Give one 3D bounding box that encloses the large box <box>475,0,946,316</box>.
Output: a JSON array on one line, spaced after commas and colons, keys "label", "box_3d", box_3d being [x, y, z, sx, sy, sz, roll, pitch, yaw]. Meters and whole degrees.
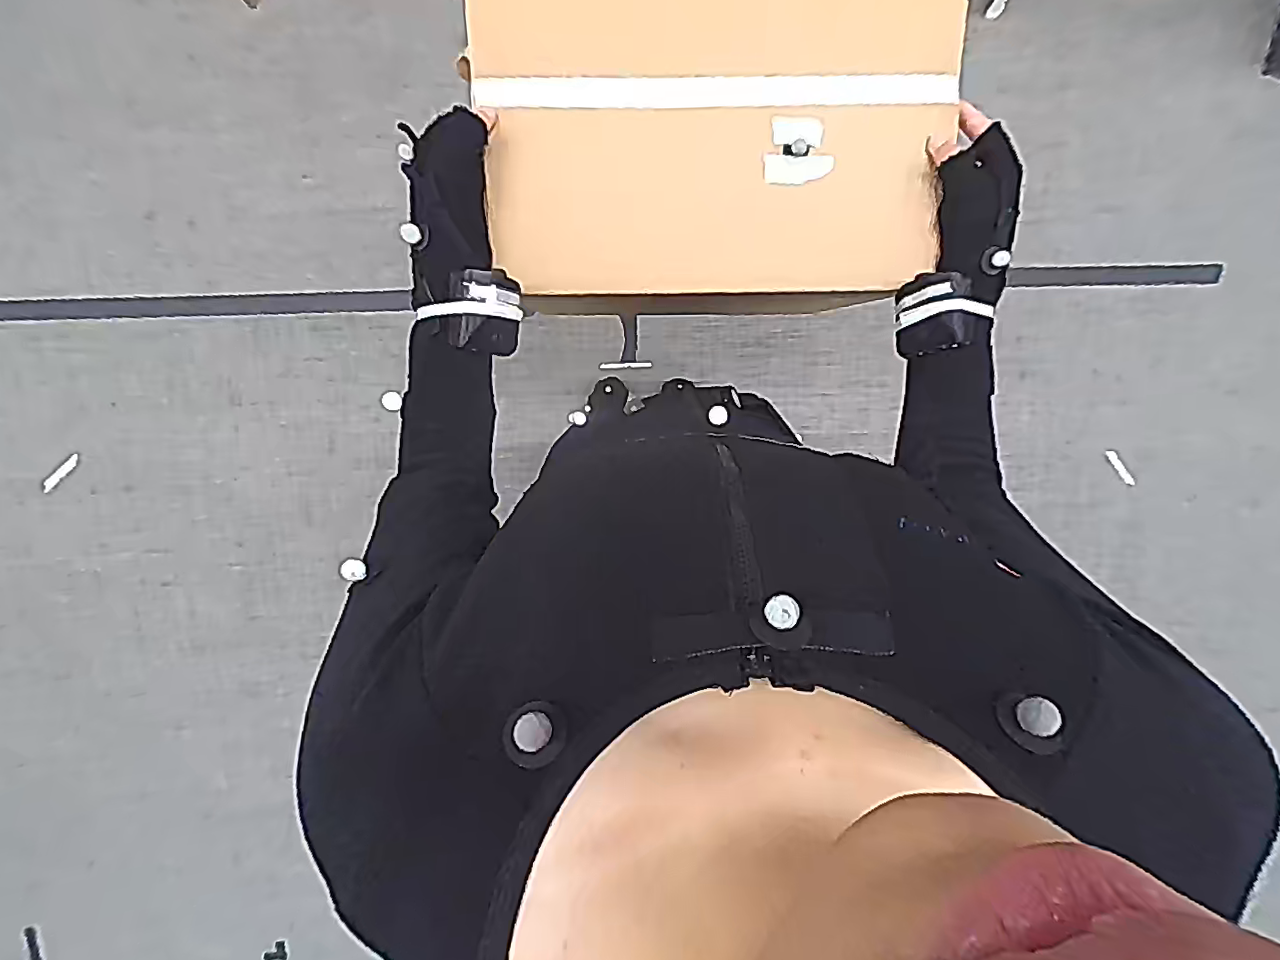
[{"label": "large box", "box_3d": [0.056, -0.363, 0.616, 0.408, 0.320, 0.320, -2, 104, -2]}]
